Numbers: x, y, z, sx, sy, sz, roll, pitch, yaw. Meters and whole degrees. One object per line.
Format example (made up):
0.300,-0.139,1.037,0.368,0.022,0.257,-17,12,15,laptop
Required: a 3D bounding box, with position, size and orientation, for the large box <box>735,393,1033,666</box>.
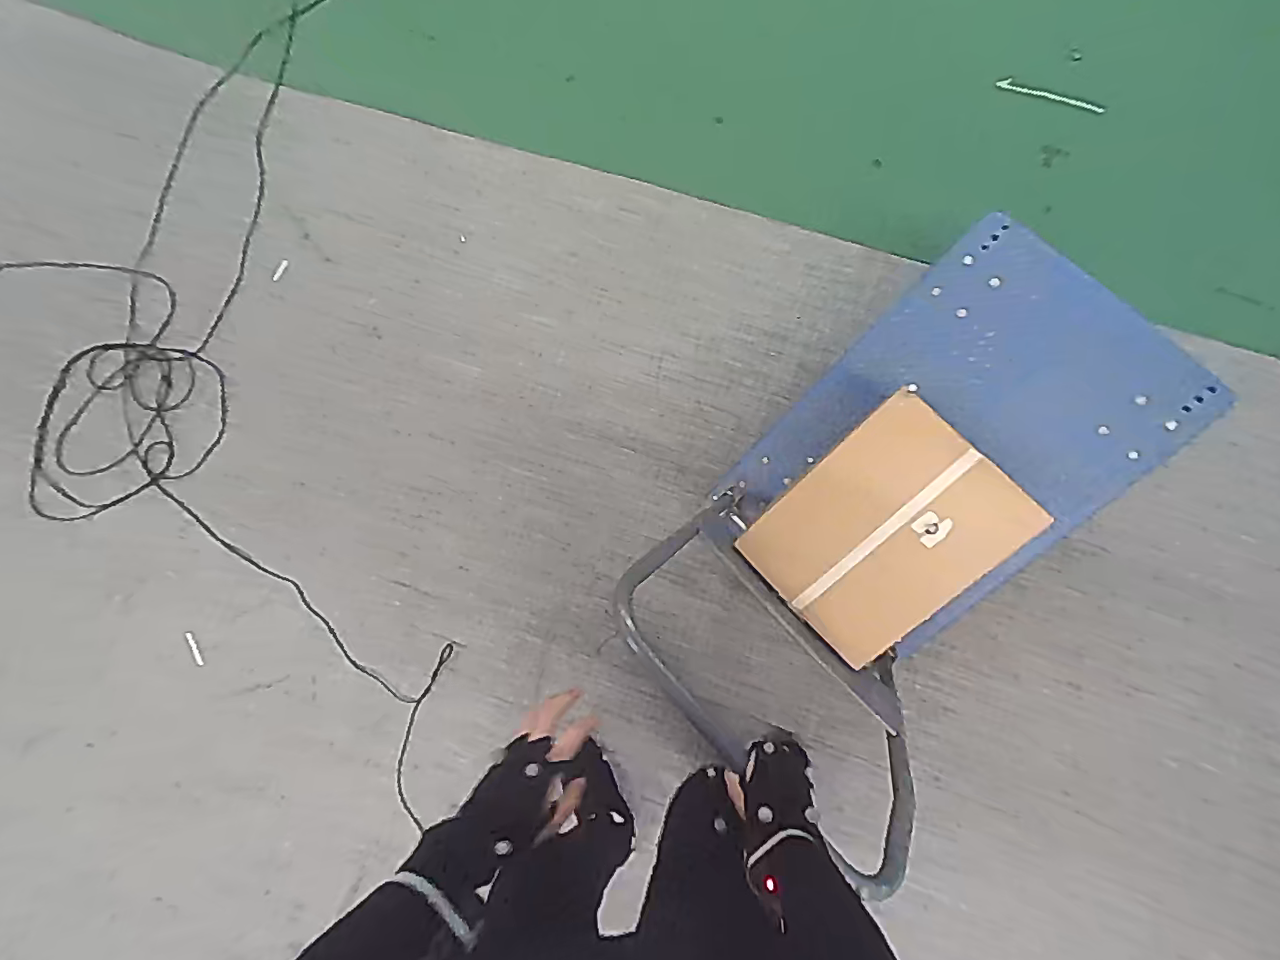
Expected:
0.457,0.088,1.097,0.320,0.320,0.408,47,106,10,large box
